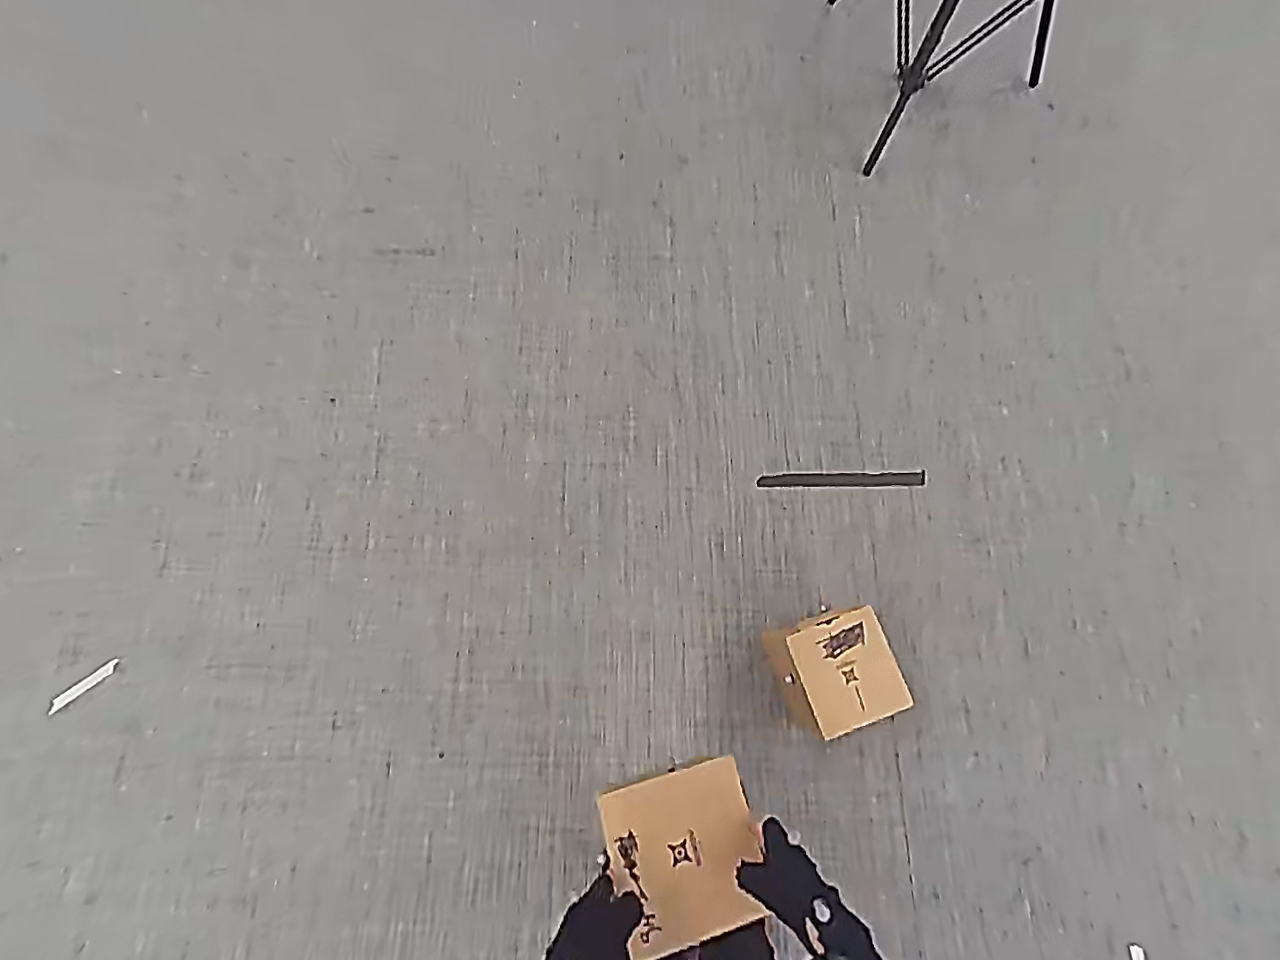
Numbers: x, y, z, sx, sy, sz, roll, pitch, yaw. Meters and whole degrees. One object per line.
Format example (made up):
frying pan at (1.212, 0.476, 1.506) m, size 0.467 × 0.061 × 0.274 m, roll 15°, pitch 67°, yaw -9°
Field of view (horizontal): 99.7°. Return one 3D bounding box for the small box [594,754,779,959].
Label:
small box at (0.045, 0.457, 0.686) m, size 0.179 × 0.176 × 0.168 m, roll -11°, pitch 64°, yaw -12°

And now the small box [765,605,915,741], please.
small box at (0.344, 0.338, 0.969) m, size 0.168 × 0.176 × 0.179 m, roll -18°, pitch 76°, yaw -6°
